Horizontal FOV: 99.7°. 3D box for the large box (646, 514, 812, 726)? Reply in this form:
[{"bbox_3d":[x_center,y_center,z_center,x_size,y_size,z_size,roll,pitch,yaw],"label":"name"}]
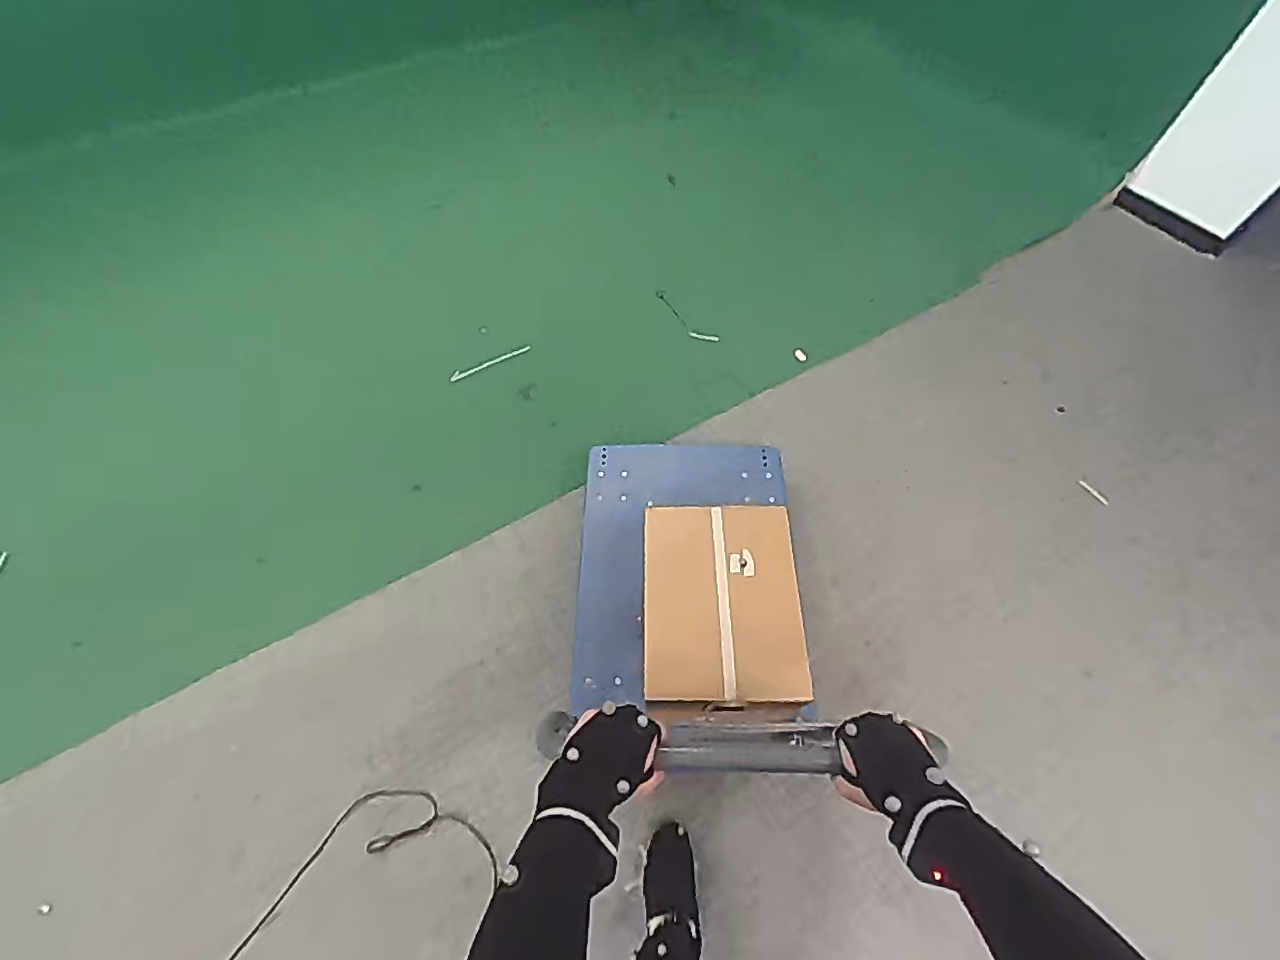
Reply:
[{"bbox_3d":[0.173,0.327,1.238,0.320,0.320,0.408,0,58,1],"label":"large box"}]
